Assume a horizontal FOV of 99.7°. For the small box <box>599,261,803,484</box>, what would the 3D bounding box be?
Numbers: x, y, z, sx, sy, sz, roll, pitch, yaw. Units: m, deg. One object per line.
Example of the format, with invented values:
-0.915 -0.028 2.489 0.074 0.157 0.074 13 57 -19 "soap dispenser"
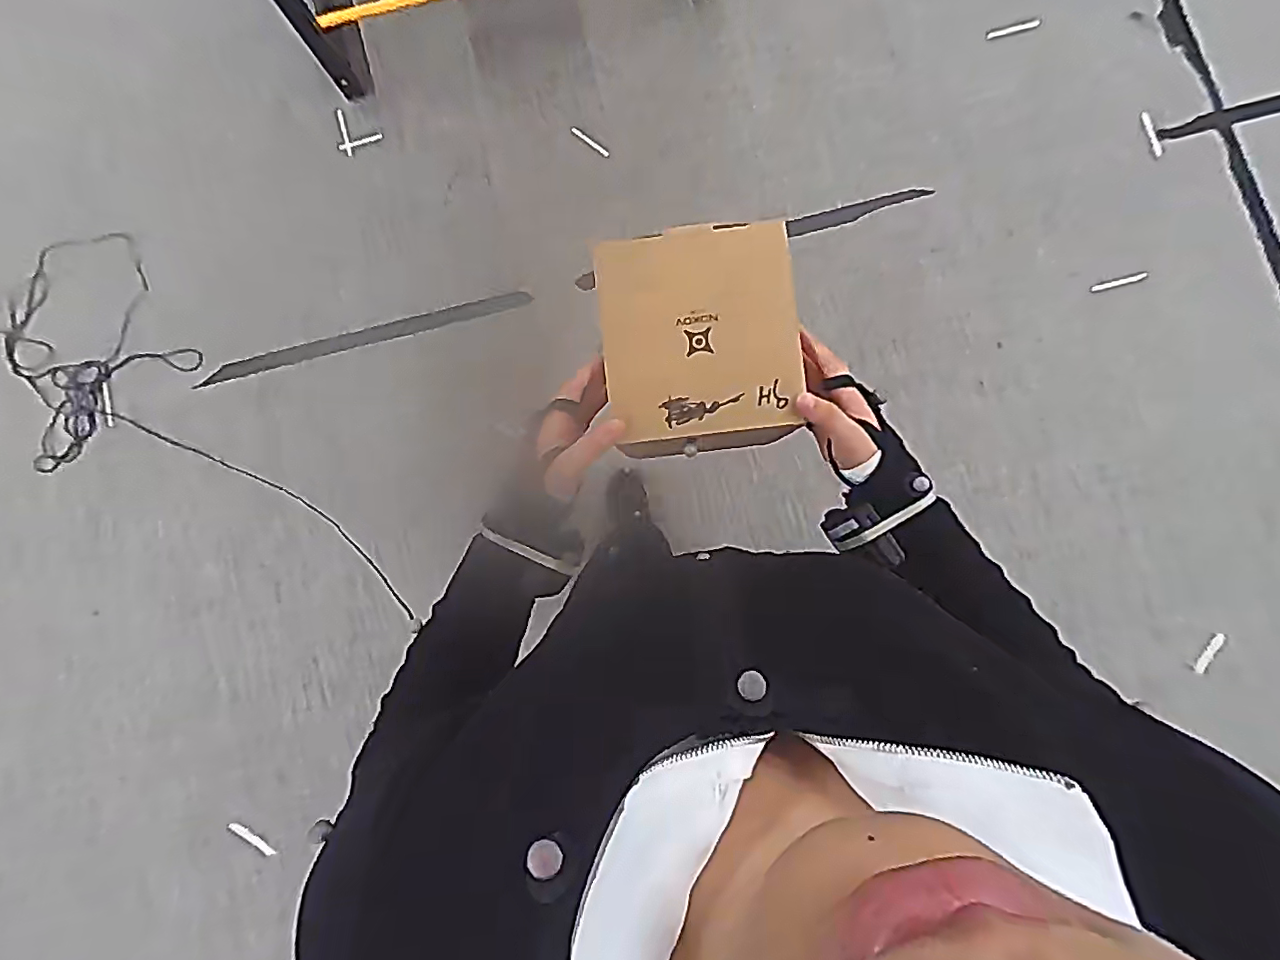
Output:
0.054 -0.093 0.547 0.168 0.176 0.179 -6 87 3 "small box"
